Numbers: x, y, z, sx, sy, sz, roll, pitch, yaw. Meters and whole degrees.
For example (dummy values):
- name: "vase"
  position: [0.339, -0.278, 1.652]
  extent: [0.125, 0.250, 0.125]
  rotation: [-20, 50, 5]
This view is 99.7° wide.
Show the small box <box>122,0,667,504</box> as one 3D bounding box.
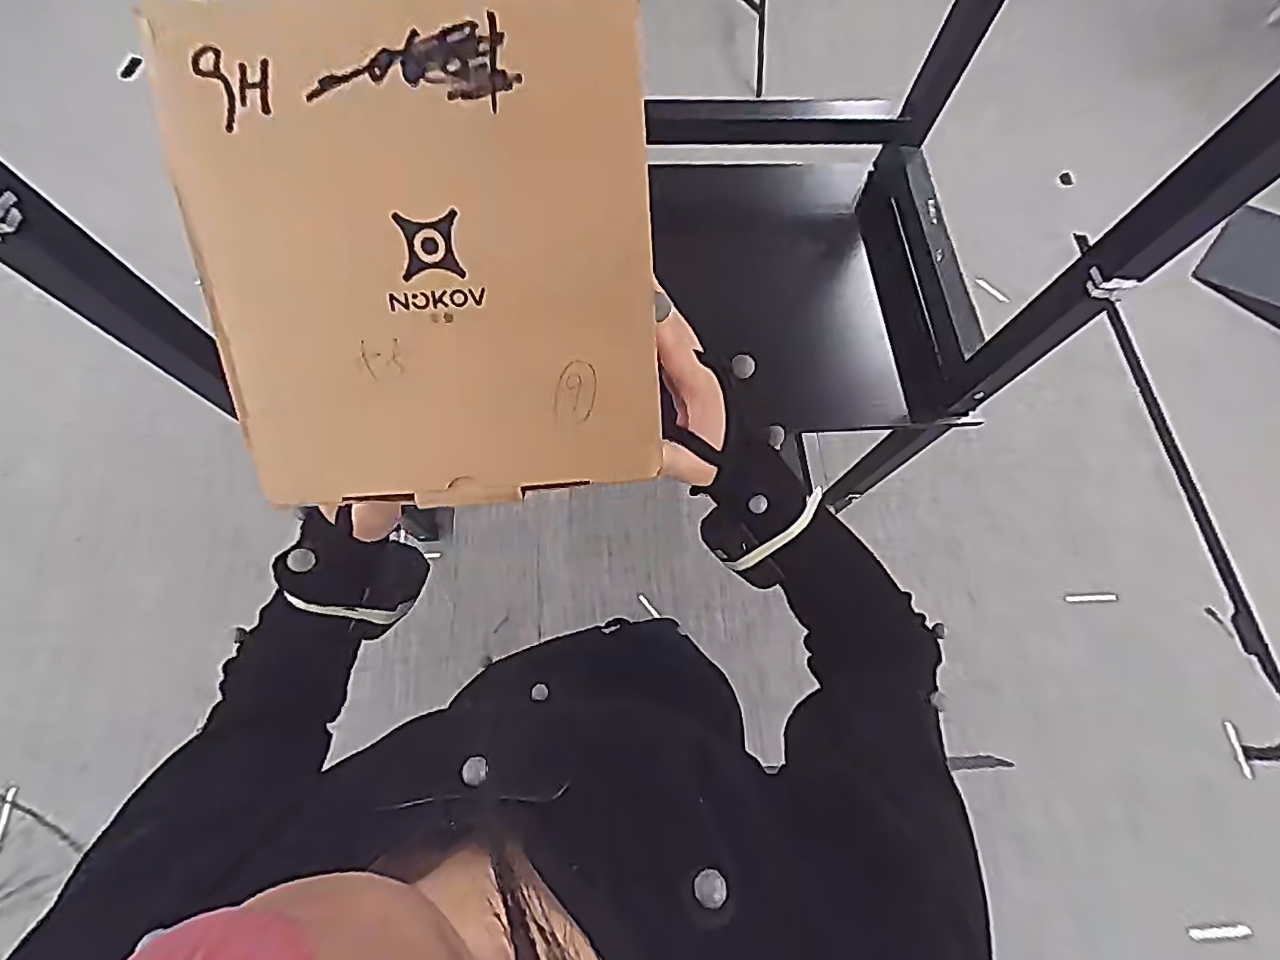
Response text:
- name: "small box"
  position: [-0.077, -0.101, 0.268]
  extent: [0.168, 0.176, 0.179]
  rotation: [-4, 107, -3]
